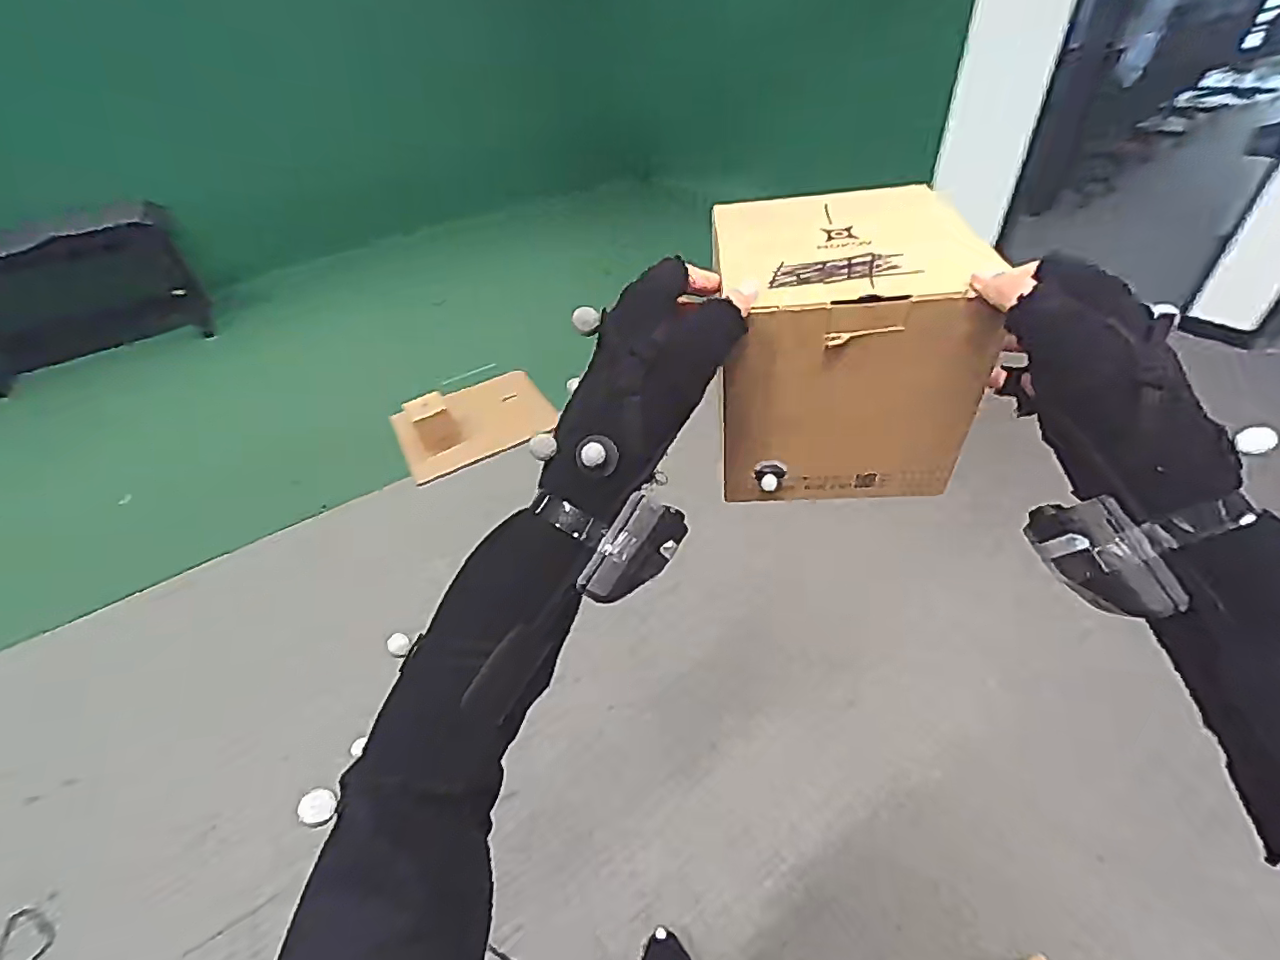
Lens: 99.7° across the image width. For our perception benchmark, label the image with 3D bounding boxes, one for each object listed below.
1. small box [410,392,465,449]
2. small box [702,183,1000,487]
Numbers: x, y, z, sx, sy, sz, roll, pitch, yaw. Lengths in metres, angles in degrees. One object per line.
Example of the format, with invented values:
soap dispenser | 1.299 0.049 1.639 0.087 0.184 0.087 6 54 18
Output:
small box | -0.927 -0.272 2.480 0.168 0.176 0.179 -27 46 -17
small box | 0.135 -0.106 0.422 0.168 0.176 0.179 -2 44 7
